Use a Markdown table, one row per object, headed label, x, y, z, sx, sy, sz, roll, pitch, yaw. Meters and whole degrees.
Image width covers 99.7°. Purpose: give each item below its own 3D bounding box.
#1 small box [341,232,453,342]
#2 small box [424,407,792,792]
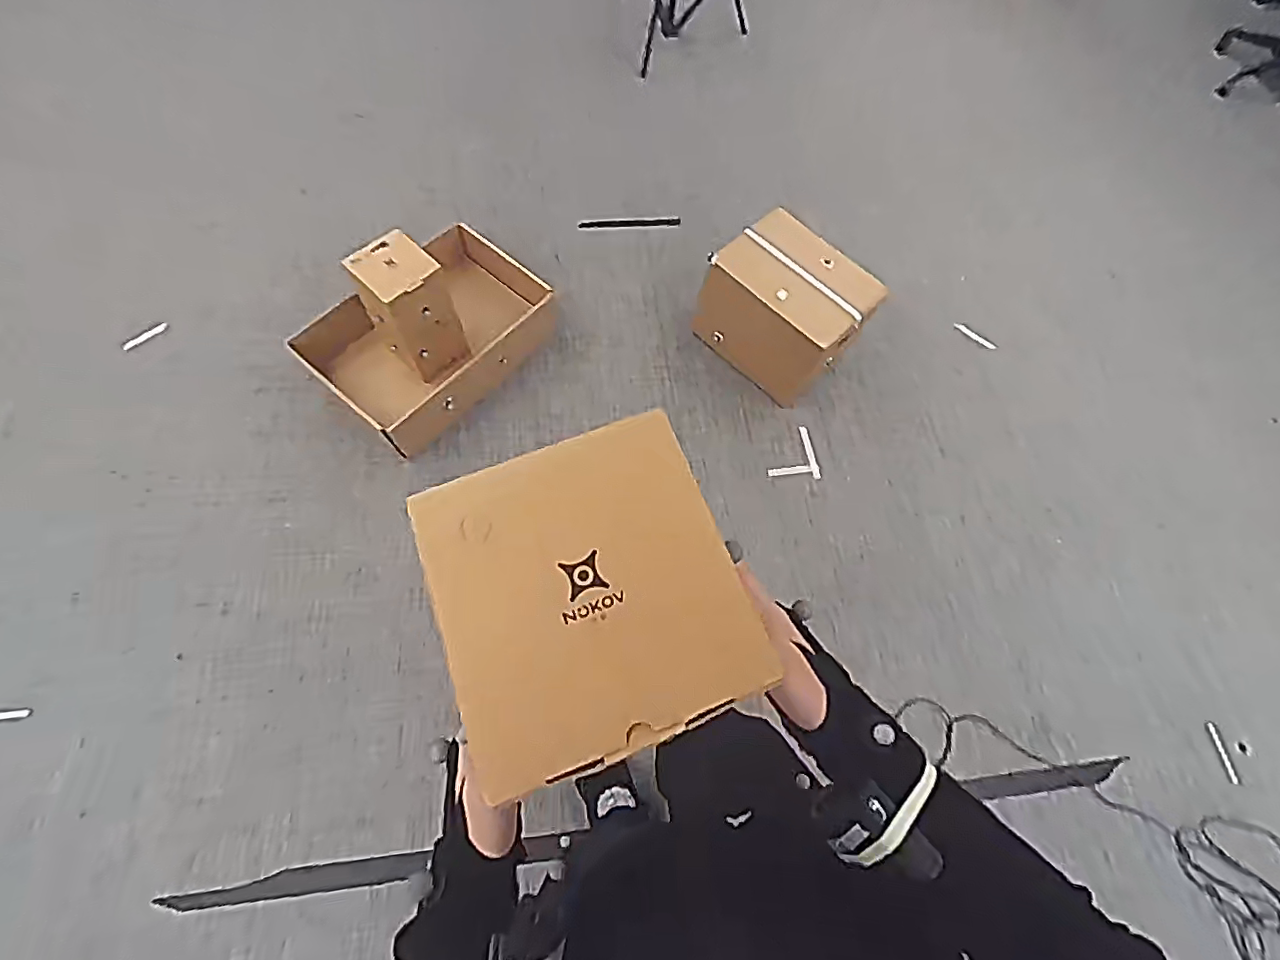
| label | x | y | z | sx | sy | sz | roll | pitch | yaw |
| --- | --- | --- | --- | --- | --- | --- | --- | --- | --- |
| small box | -0.601 | -0.477 | 1.365 | 0.179 | 0.176 | 0.168 | 42 | 69 | 12 |
| small box | -0.026 | 0.082 | 0.379 | 0.168 | 0.176 | 0.179 | -20 | 72 | -8 |
